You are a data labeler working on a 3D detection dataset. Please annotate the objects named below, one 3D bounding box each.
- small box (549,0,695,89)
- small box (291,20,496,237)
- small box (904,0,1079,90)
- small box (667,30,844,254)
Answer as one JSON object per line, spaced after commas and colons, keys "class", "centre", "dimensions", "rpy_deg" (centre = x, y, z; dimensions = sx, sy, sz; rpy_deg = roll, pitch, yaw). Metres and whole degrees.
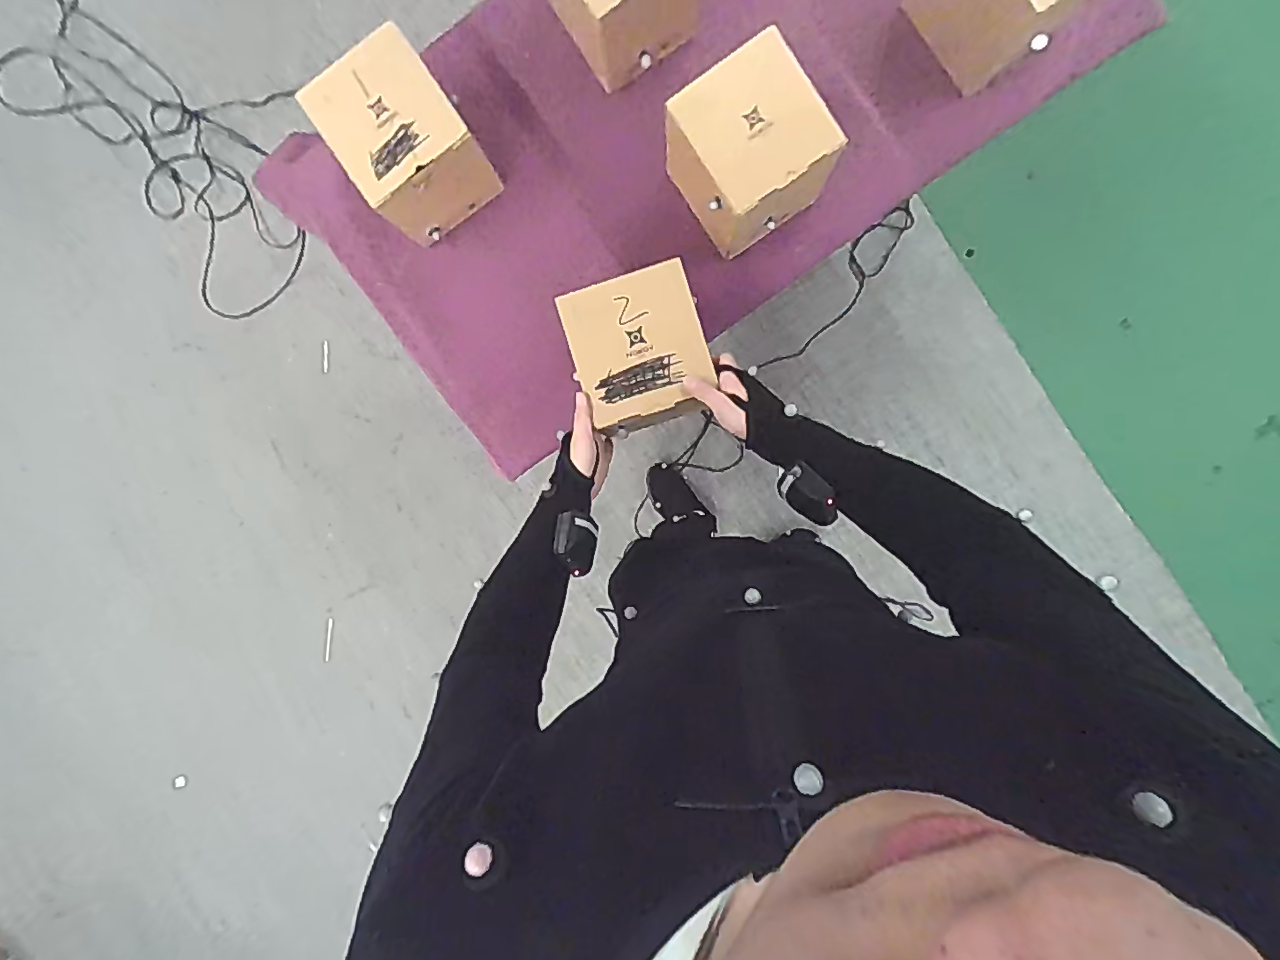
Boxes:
{"class": "small box", "centre": [-0.035, -0.705, 0.749], "dimensions": [0.168, 0.176, 0.179], "rpy_deg": [-33, 95, 5]}
{"class": "small box", "centre": [-0.335, -0.479, 0.778], "dimensions": [0.168, 0.176, 0.179], "rpy_deg": [-34, 94, 4]}
{"class": "small box", "centre": [0.496, -0.689, 0.728], "dimensions": [0.168, 0.176, 0.179], "rpy_deg": [-36, 94, 6]}
{"class": "small box", "centre": [0.148, -0.459, 0.767], "dimensions": [0.168, 0.176, 0.179], "rpy_deg": [-34, 93, 4]}
